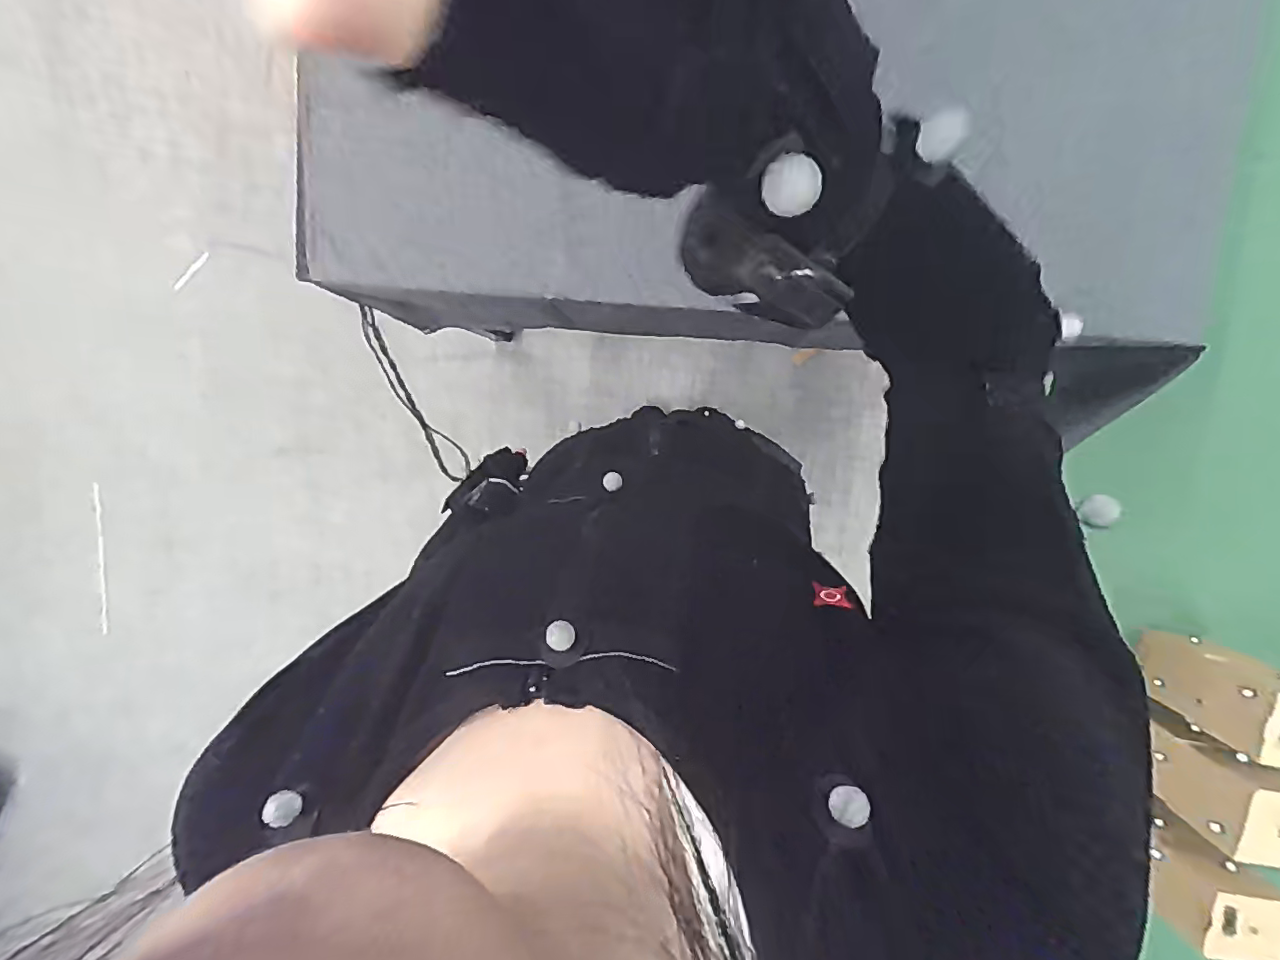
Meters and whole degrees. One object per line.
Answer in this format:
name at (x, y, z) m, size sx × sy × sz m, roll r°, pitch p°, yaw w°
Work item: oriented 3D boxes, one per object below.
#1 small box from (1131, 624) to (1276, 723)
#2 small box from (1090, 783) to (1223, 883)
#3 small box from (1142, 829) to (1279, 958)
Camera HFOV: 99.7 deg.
small box at (1.414, 0.481, 1.372) m, size 0.179 × 0.176 × 0.168 m, roll 10°, pitch 98°, yaw 3°
small box at (1.360, 0.939, 1.434) m, size 0.179 × 0.176 × 0.168 m, roll 6°, pitch 98°, yaw 4°
small box at (1.347, 0.961, 1.272) m, size 0.179 × 0.176 × 0.168 m, roll 5°, pitch 98°, yaw 3°
